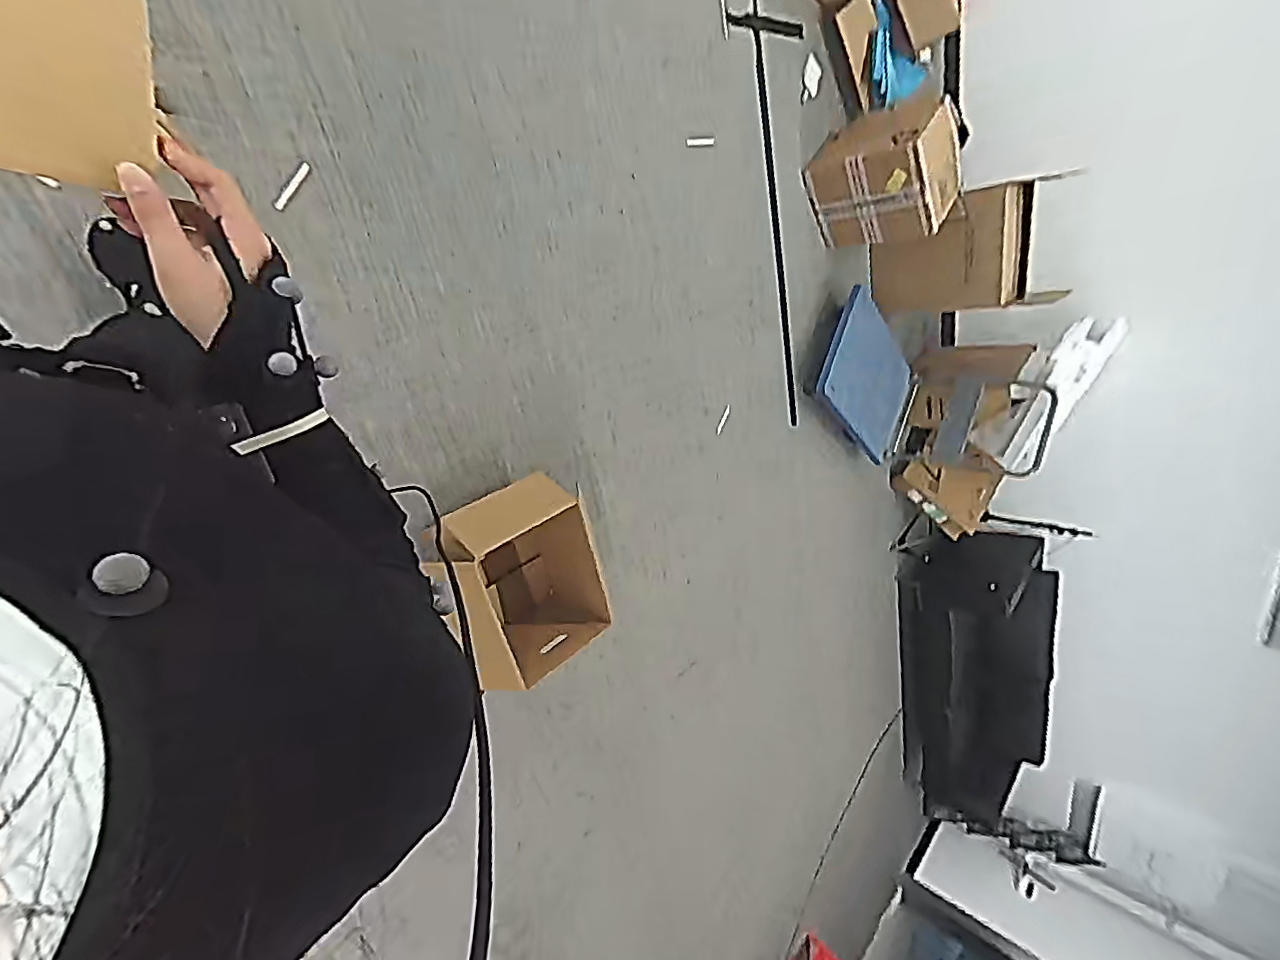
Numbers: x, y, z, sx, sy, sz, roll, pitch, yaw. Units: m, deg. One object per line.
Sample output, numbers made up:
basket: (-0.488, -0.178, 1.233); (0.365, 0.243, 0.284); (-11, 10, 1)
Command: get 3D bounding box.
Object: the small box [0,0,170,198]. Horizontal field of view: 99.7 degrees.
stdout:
small box: (-0.376, -0.267, 0.285); (0.179, 0.176, 0.168); (-6, 118, -43)
